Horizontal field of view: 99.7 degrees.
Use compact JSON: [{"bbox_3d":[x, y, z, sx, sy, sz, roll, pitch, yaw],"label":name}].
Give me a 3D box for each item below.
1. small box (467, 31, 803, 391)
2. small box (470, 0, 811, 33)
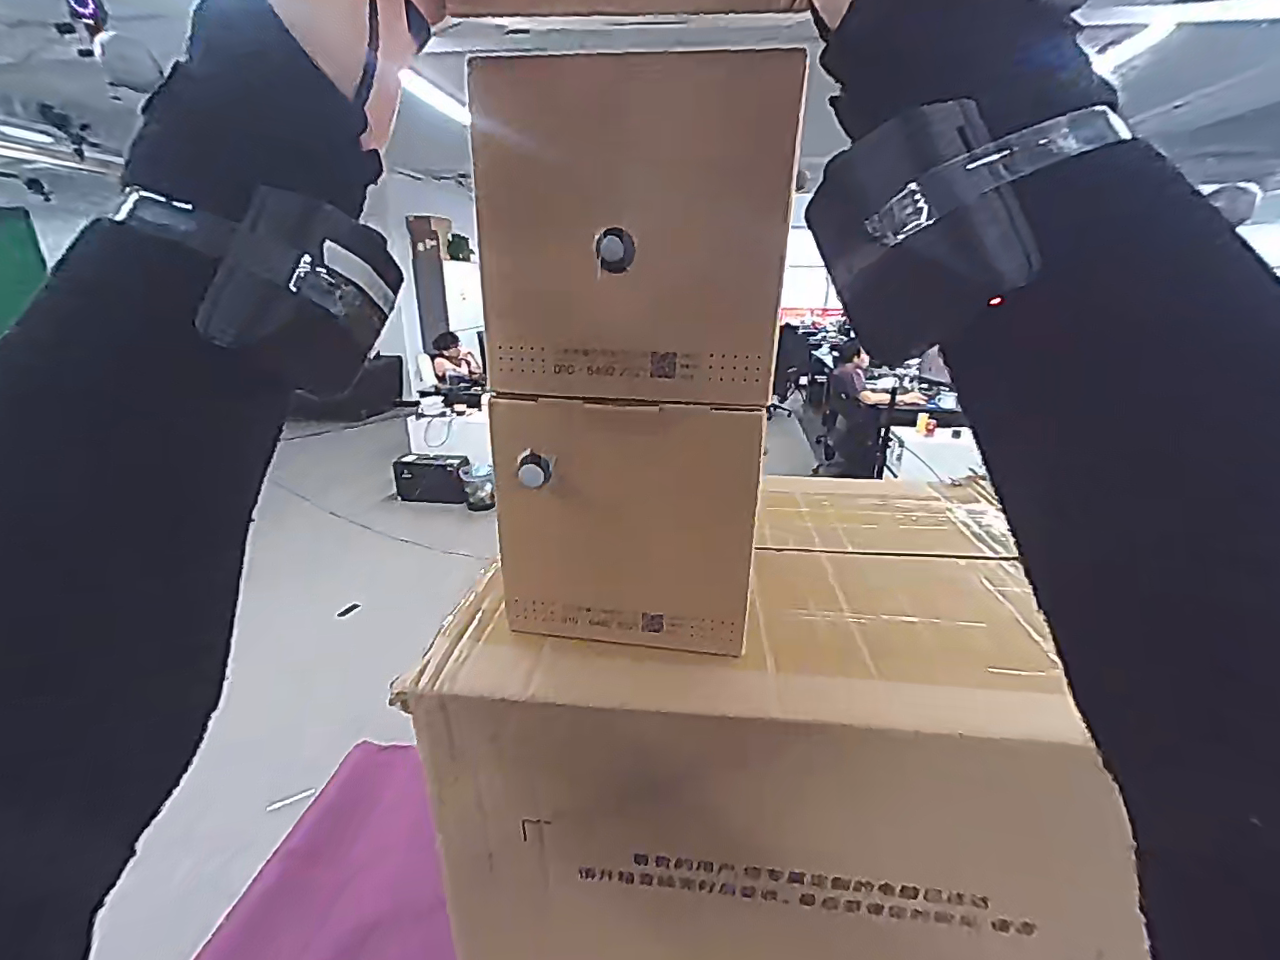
[{"bbox_3d":[0.006,-0.157,0.359,0.168,0.176,0.179,4,20,7],"label":"small box"},{"bbox_3d":[0.004,-0.324,0.257,0.168,0.176,0.179,3,38,6],"label":"small box"}]
